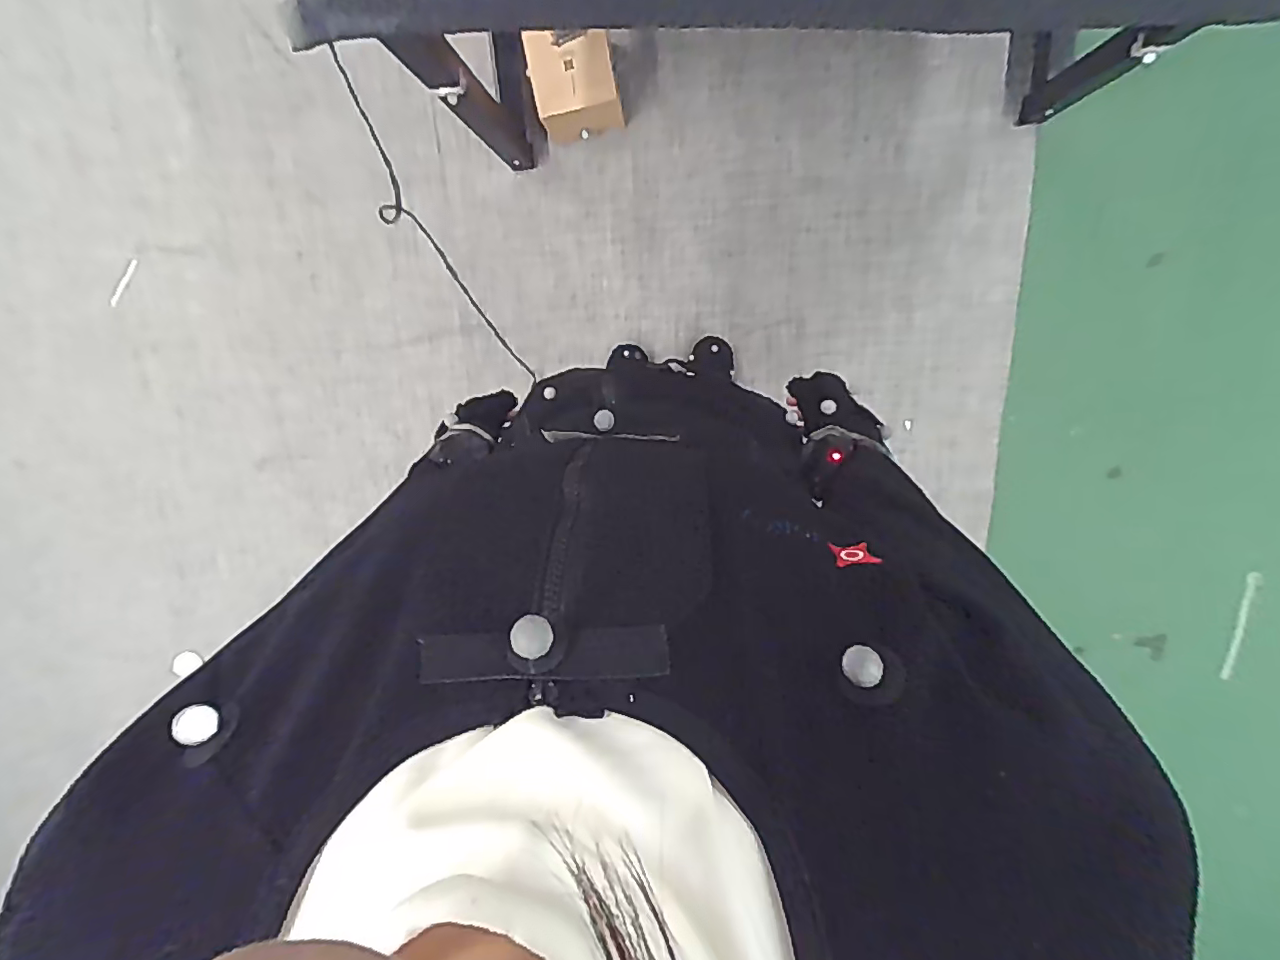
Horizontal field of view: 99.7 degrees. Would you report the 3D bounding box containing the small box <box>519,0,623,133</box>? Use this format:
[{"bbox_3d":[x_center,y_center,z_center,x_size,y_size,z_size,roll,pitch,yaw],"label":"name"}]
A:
[{"bbox_3d":[-0.136,-0.866,1.132,0.168,0.176,0.179,-9,106,6],"label":"small box"}]
